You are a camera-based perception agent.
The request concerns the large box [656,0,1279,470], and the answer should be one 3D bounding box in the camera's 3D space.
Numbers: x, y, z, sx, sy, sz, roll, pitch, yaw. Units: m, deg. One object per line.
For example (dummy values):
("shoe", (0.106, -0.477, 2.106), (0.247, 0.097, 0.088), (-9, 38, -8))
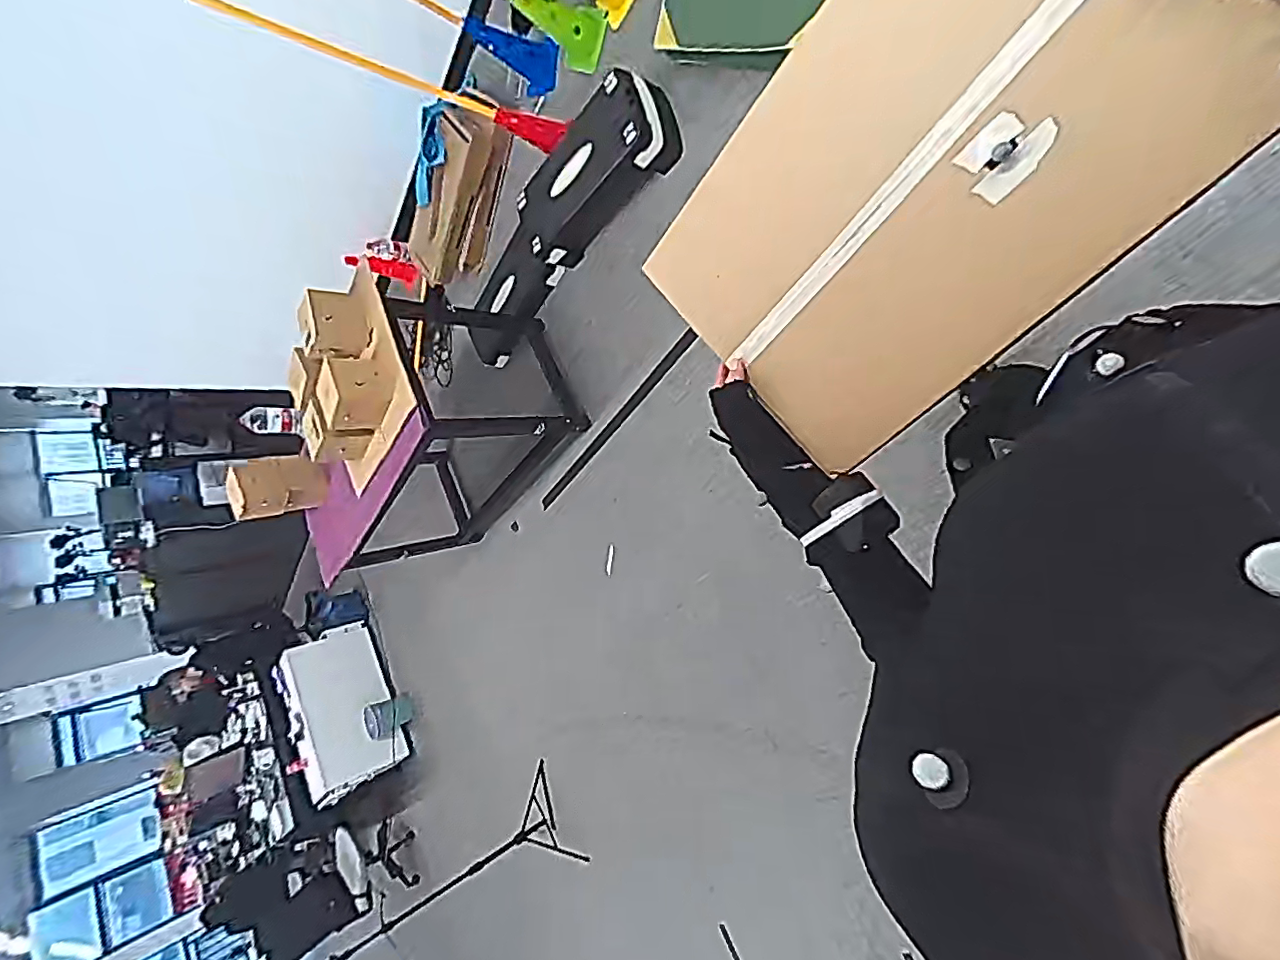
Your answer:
("large box", (0.299, -0.272, 0.587), (0.320, 0.320, 0.408), (51, 123, 12))
